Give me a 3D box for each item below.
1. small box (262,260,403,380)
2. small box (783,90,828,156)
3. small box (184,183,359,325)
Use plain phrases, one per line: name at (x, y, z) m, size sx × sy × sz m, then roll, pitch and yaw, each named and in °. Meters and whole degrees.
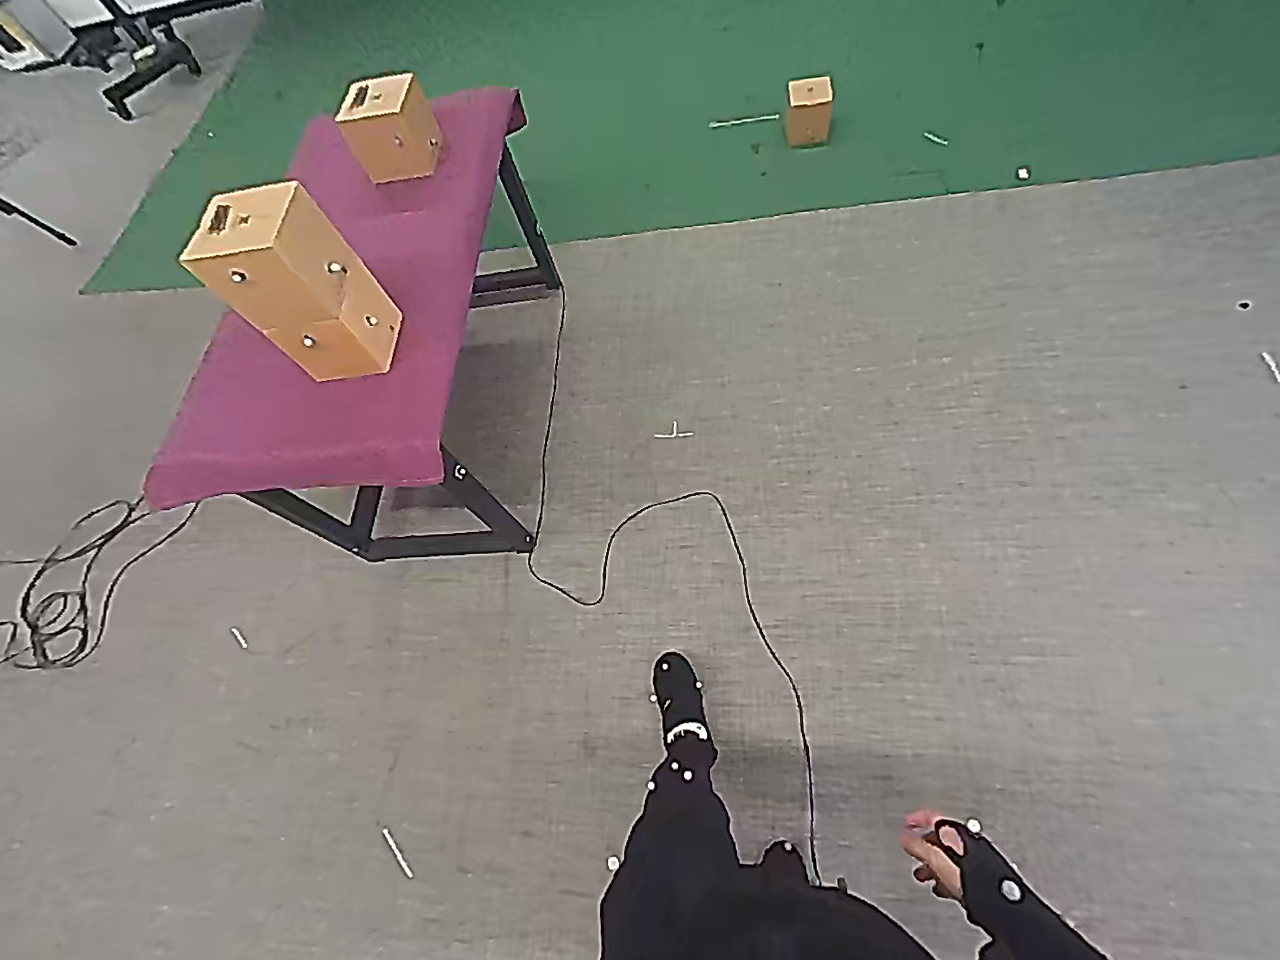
small box at (-0.628, -0.328, 1.130) m, size 0.179 × 0.176 × 0.168 m, roll -5°, pitch 62°, yaw 8°
small box at (0.709, -1.537, 2.332) m, size 0.168 × 0.176 × 0.179 m, roll -1°, pitch 63°, yaw 10°
small box at (-0.657, -0.402, 0.987) m, size 0.179 × 0.176 × 0.168 m, roll -4°, pitch 63°, yaw 8°
